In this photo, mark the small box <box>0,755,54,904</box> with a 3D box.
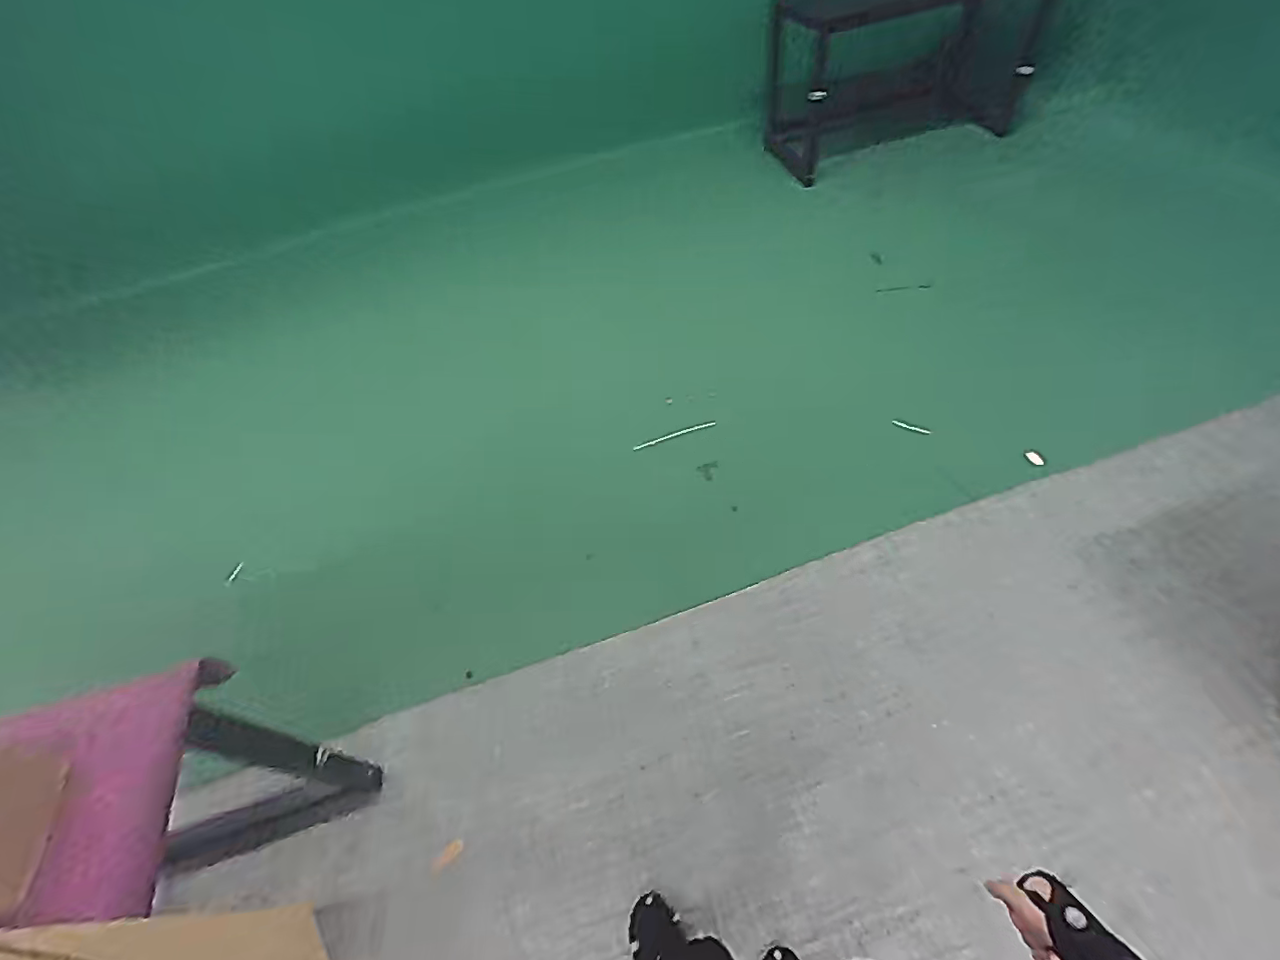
[{"bbox_3d":[-0.897,0.444,0.658,0.168,0.176,0.179,-16,52,-3],"label":"small box"}]
